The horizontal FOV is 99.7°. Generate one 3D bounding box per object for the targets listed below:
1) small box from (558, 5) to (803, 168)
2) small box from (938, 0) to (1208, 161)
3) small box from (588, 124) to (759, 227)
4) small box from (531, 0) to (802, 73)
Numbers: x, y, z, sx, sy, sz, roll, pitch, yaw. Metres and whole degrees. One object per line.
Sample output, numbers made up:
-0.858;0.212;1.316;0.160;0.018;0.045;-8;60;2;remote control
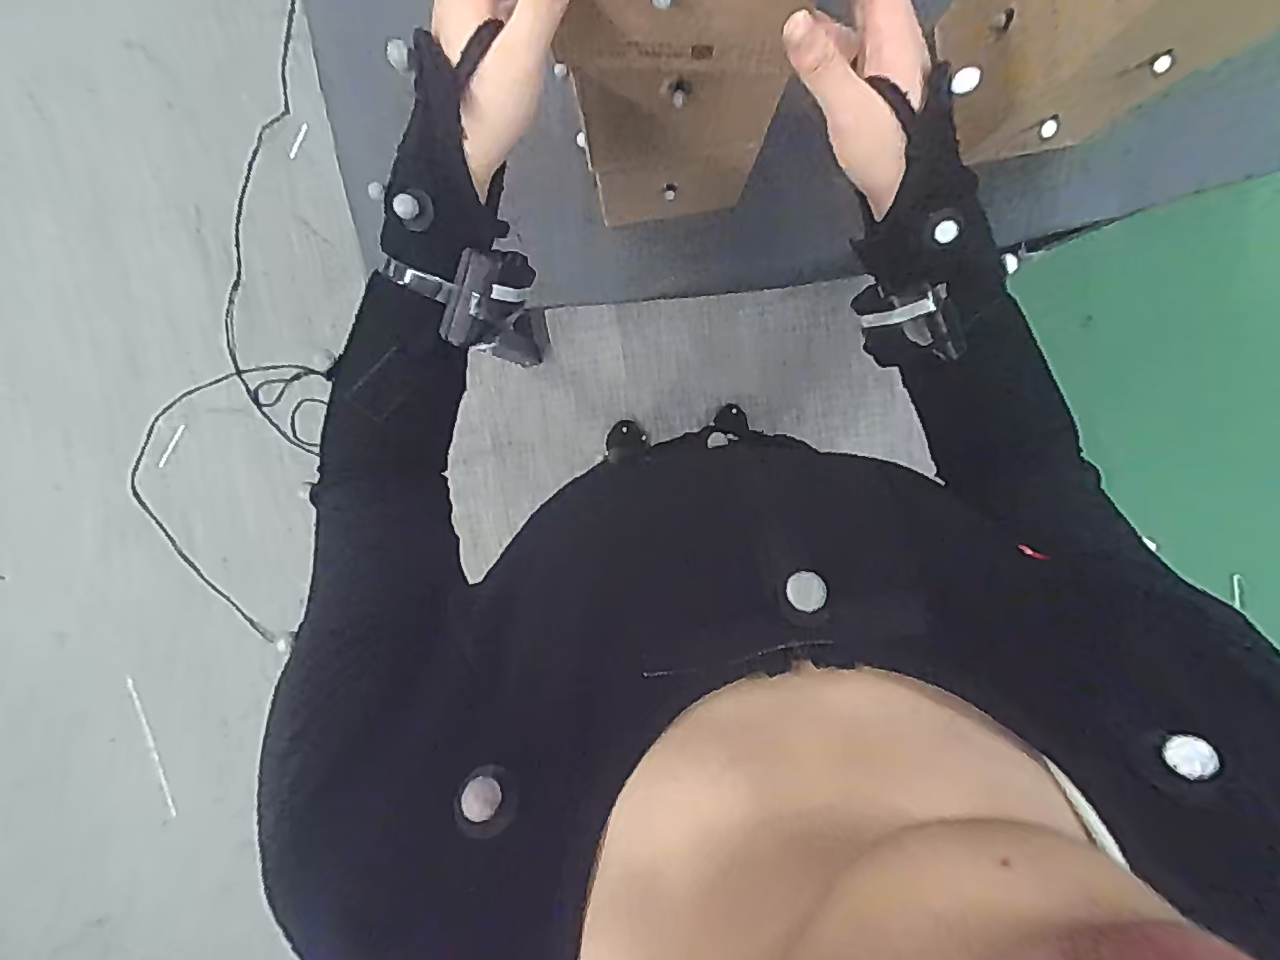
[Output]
0.020;-0.390;0.455;0.179;0.176;0.168;-8;97;0;small box
0.463;-0.486;0.603;0.168;0.176;0.179;-10;96;2;small box
0.024;-0.411;0.615;0.179;0.176;0.168;-9;96;2;small box
0.018;-0.354;0.284;0.168;0.176;0.179;3;97;0;small box
